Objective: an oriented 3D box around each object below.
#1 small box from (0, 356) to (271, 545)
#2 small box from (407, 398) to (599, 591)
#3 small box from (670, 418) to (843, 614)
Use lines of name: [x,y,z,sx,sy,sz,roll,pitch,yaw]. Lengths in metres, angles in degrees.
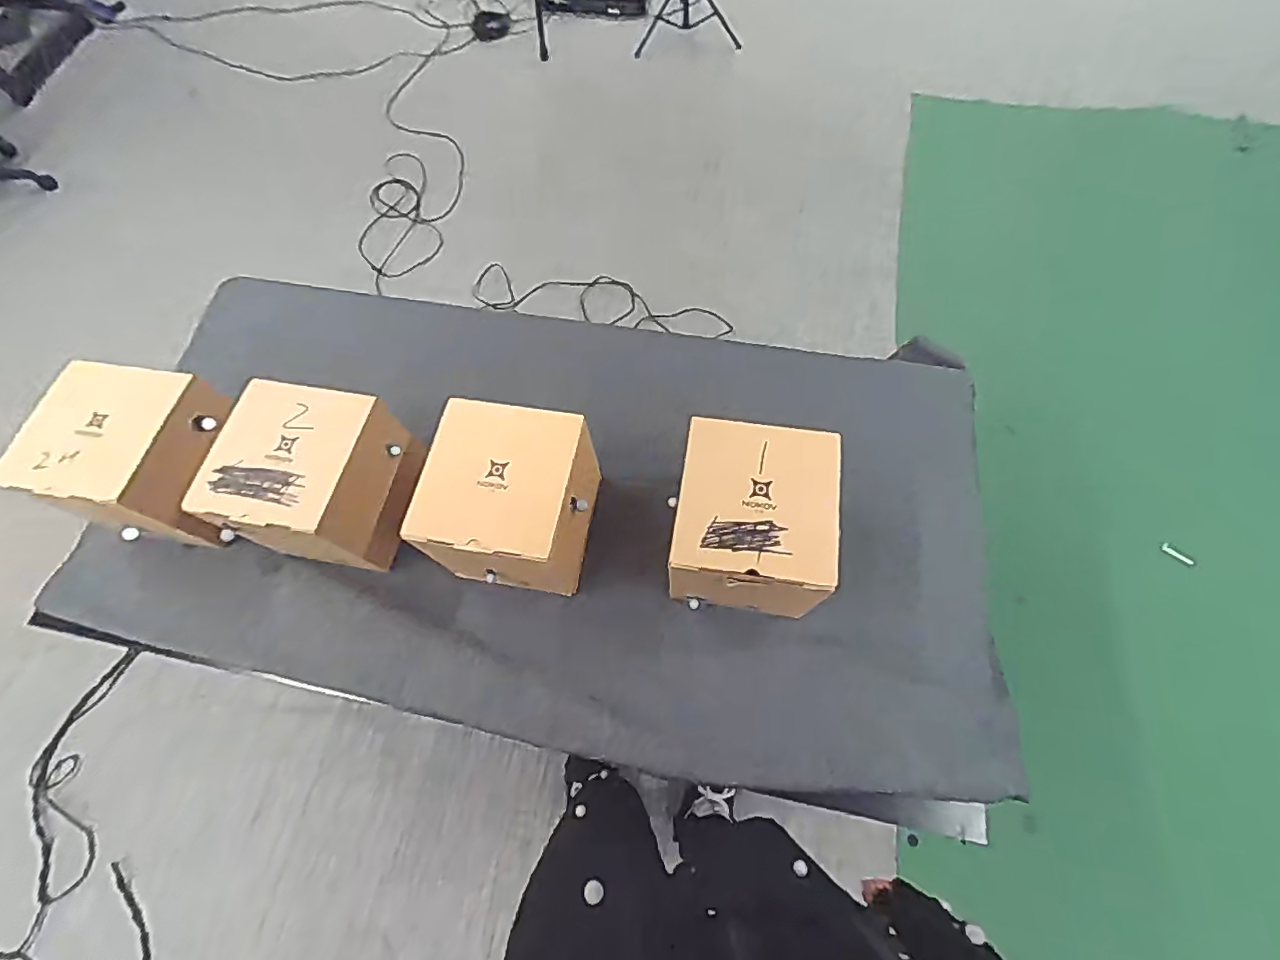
small box: [-0.632,-0.032,0.707,0.168,0.176,0.179,8,66,5]
small box: [-0.150,0.025,0.667,0.168,0.176,0.179,8,68,6]
small box: [0.131,0.051,0.639,0.168,0.176,0.179,8,67,6]
